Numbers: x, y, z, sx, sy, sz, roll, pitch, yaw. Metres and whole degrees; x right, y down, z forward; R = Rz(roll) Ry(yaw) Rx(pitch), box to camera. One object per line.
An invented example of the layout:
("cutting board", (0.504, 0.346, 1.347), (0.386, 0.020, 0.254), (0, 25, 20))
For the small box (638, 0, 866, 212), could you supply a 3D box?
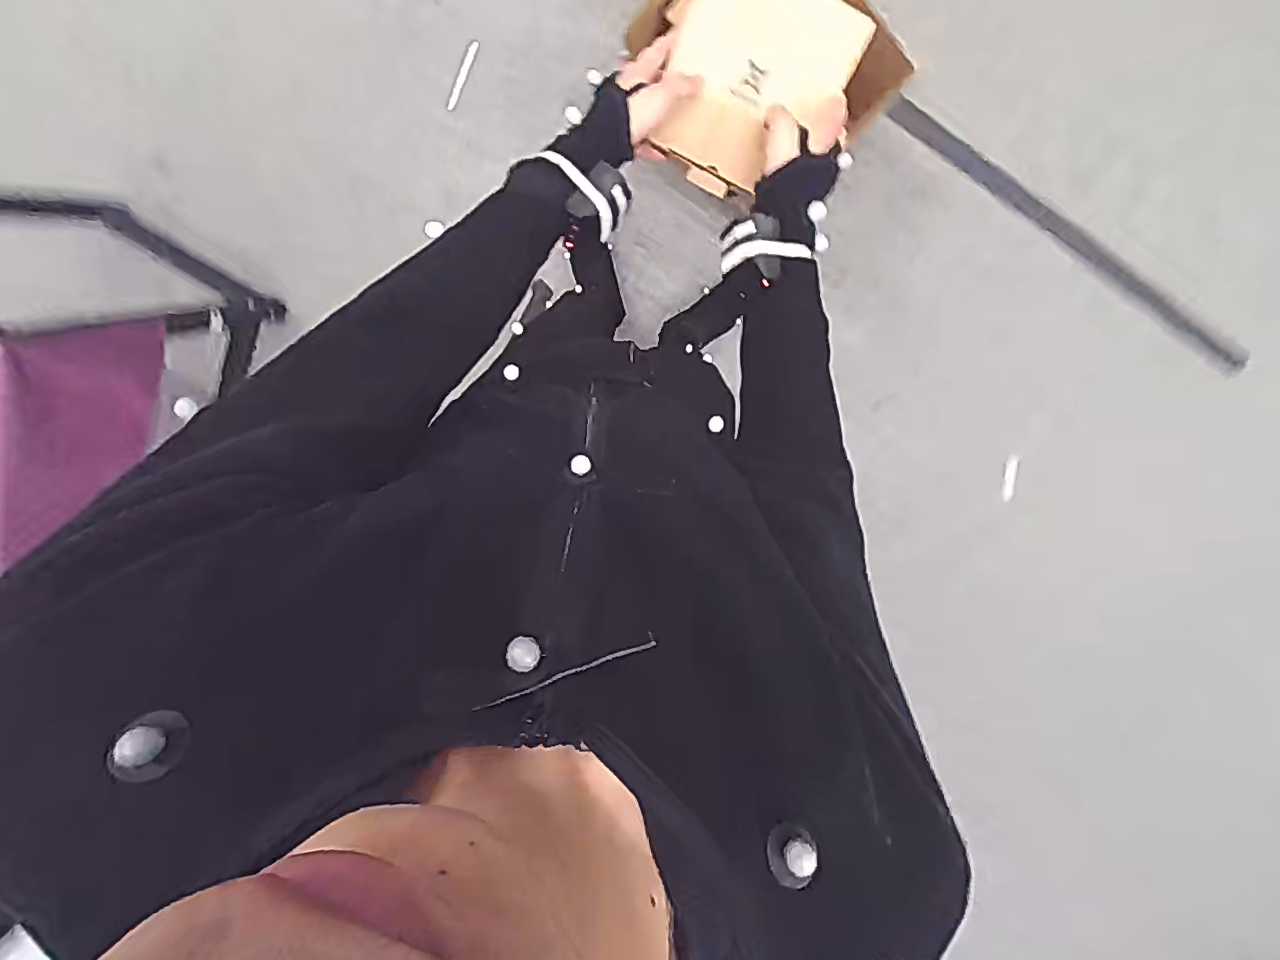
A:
("small box", (0.109, -0.425, 0.604), (0.168, 0.176, 0.179), (22, 116, -11))
